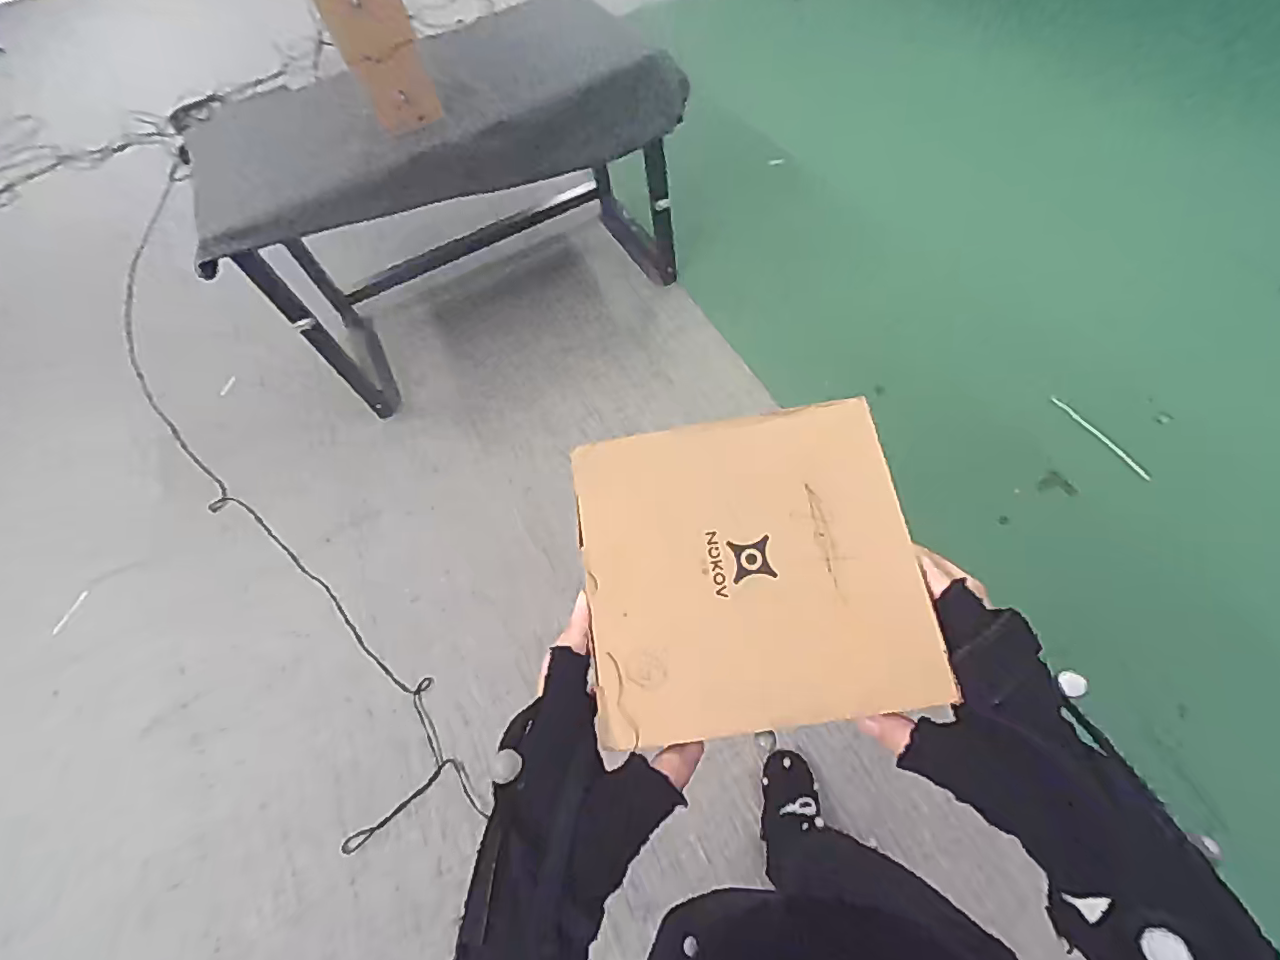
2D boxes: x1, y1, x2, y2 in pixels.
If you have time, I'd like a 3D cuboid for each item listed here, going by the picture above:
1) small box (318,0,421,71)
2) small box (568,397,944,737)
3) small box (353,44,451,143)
[{"bbox_3d":[-0.607,-1.049,1.190,0.179,0.176,0.168,-29,59,-9],"label":"small box"},{"bbox_3d":[0.061,0.067,0.369,0.179,0.176,0.168,-10,71,1],"label":"small box"},{"bbox_3d":[-0.592,-0.970,1.334,0.168,0.176,0.179,-27,60,-7],"label":"small box"}]
